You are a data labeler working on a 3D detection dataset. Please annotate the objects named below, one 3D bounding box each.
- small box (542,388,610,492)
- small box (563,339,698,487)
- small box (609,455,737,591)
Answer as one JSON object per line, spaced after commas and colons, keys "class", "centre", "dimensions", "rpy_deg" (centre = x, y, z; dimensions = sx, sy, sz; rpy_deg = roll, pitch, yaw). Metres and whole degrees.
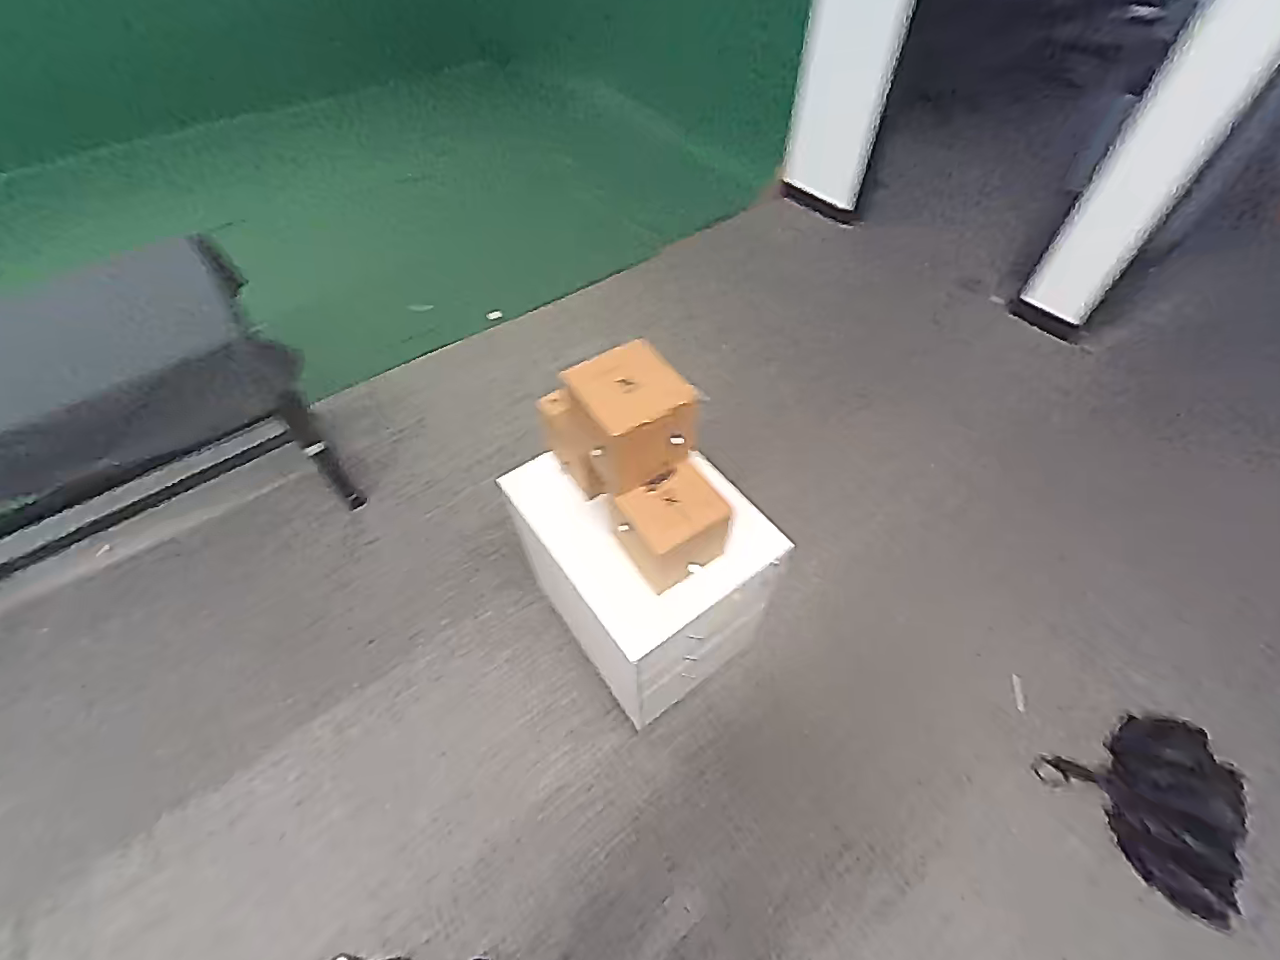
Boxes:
{"class": "small box", "centre": [-0.085, -0.098, 1.149], "dimensions": [0.168, 0.176, 0.179], "rpy_deg": [-30, 61, -19]}
{"class": "small box", "centre": [-0.015, -0.111, 0.956], "dimensions": [0.168, 0.176, 0.179], "rpy_deg": [-28, 57, -19]}
{"class": "small box", "centre": [0.057, 0.076, 1.018], "dimensions": [0.168, 0.176, 0.179], "rpy_deg": [-28, 59, -18]}
